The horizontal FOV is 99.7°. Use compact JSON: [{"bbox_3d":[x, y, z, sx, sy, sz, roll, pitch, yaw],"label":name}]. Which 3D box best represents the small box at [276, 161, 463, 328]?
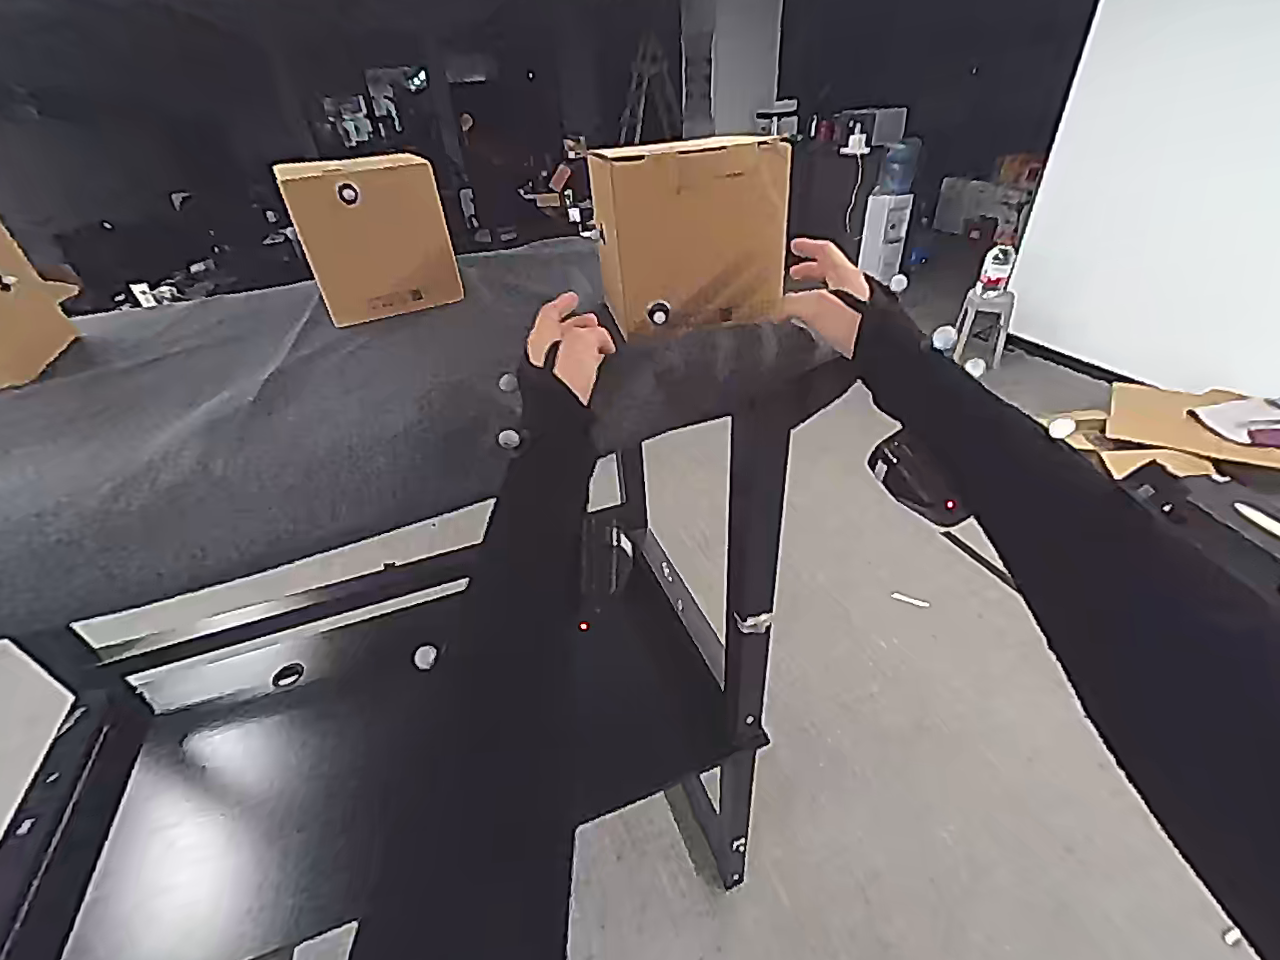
[{"bbox_3d":[-0.353,-0.314,0.713,0.168,0.176,0.179,-22,39,-22],"label":"small box"}]

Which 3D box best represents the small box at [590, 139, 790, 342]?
[{"bbox_3d":[0.047,-0.256,0.581,0.168,0.176,0.179,-11,34,-7],"label":"small box"}]
